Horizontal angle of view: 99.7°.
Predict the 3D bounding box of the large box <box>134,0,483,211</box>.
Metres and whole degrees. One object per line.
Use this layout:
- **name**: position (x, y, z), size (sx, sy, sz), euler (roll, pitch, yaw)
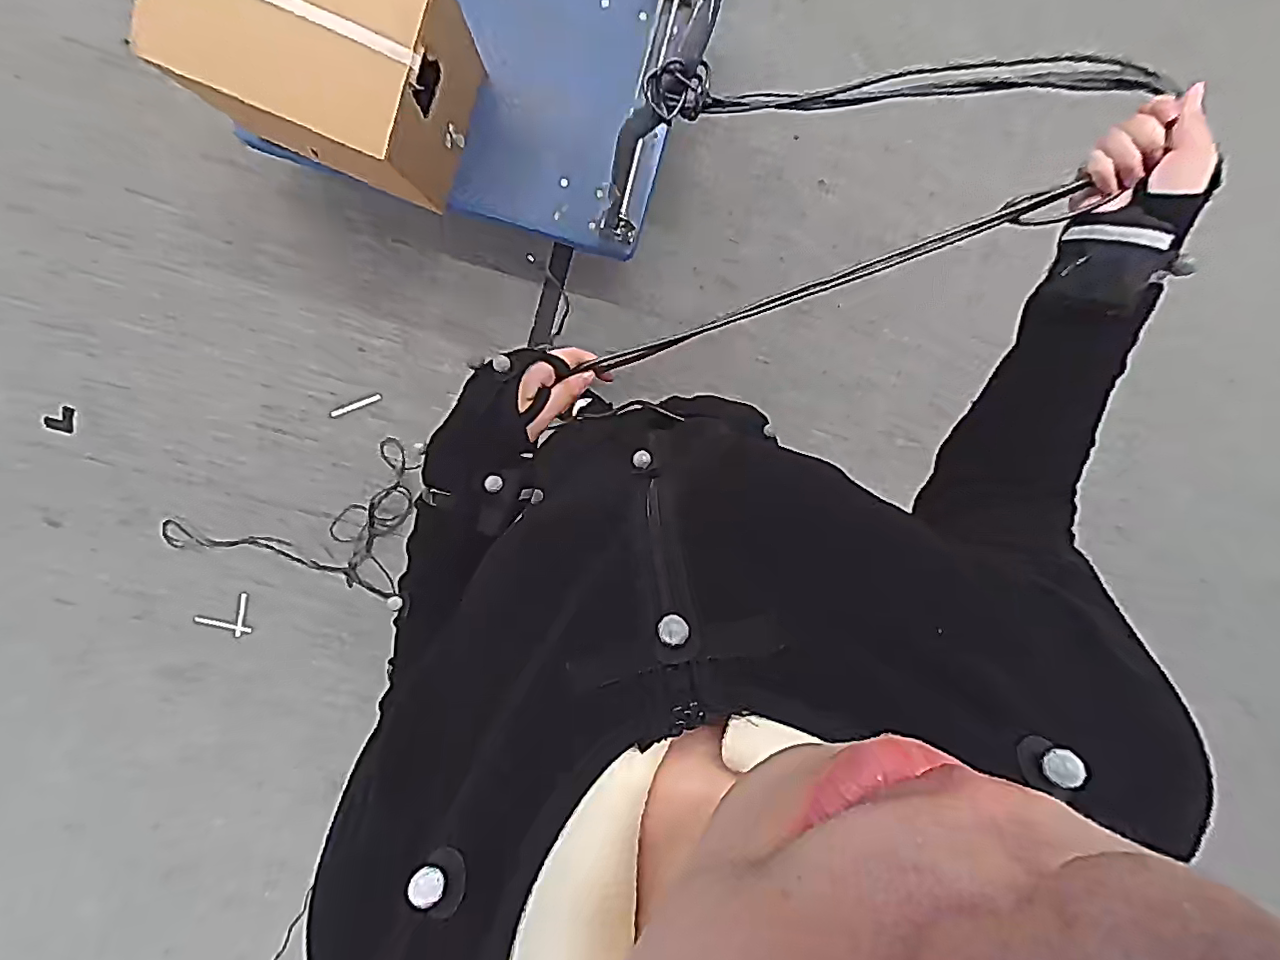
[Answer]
- **large box**: position (-0.548, -0.746, 0.973), size (0.408, 0.320, 0.320), euler (20, 99, -6)
